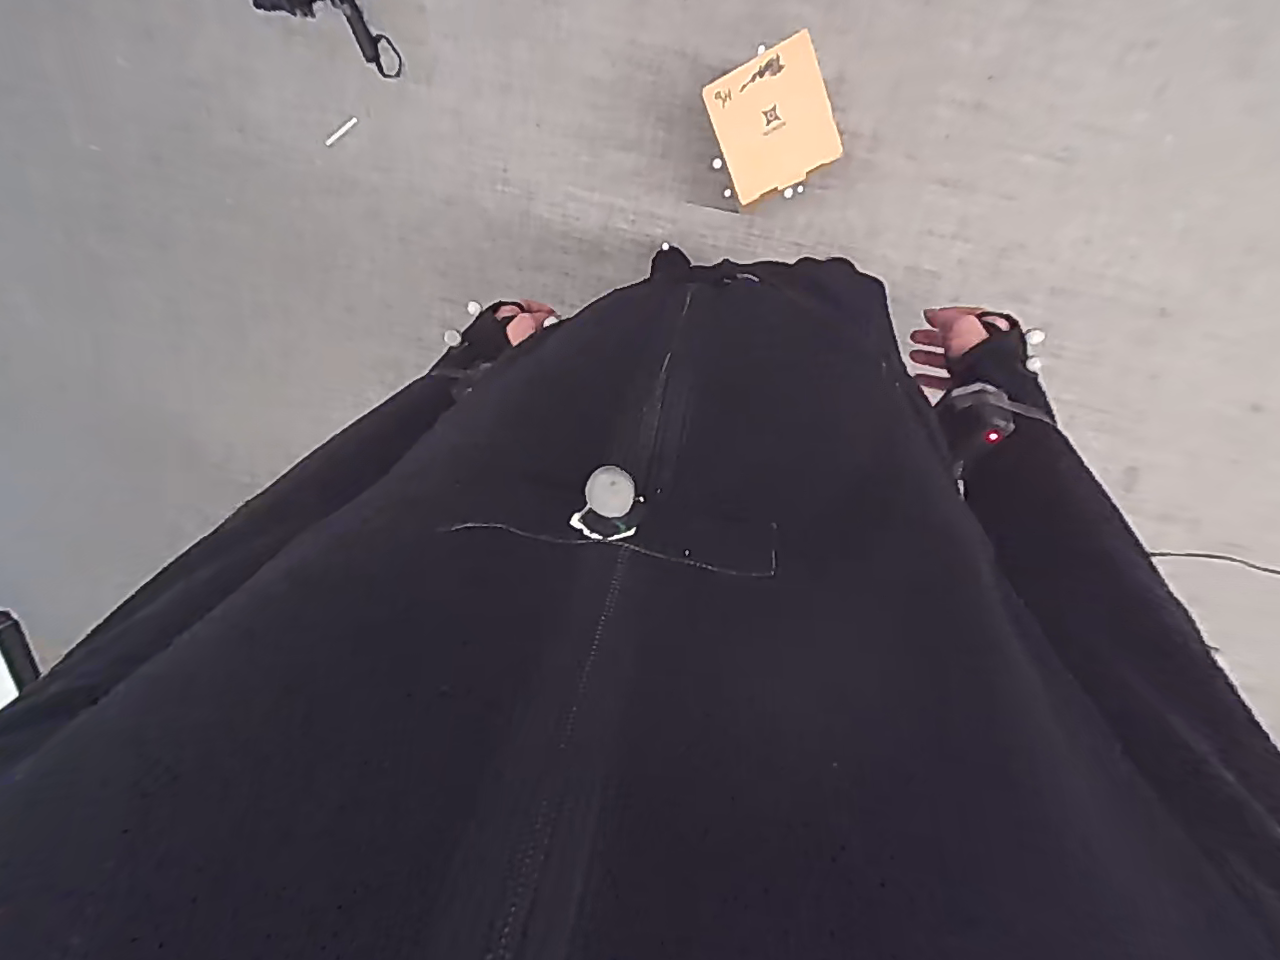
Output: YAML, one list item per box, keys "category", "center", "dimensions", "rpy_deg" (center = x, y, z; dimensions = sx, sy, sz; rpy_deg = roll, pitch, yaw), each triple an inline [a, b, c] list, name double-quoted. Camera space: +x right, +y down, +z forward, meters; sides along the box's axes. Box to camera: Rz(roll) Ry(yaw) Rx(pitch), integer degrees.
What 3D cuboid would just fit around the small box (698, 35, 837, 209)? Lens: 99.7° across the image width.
- category: "small box"
  center: [0.206, -0.570, 0.890]
  dimensions: [0.168, 0.176, 0.179]
  rpy_deg: [-21, 110, 17]
